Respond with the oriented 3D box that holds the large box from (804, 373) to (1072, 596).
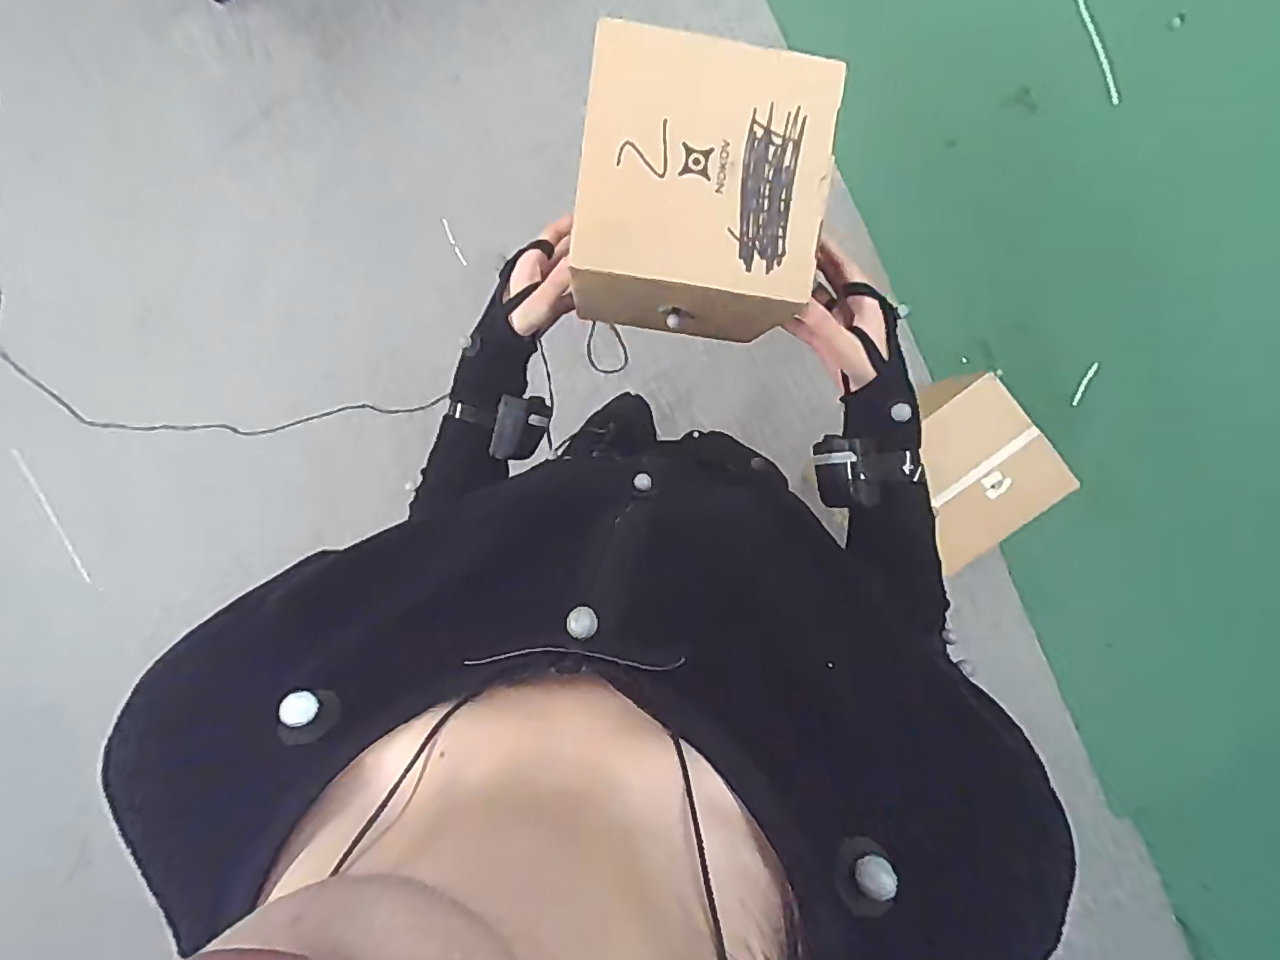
[{"bbox_3d":[0.676,0.004,1.303,0.408,0.320,0.320,-38,92,6],"label":"large box"}]
